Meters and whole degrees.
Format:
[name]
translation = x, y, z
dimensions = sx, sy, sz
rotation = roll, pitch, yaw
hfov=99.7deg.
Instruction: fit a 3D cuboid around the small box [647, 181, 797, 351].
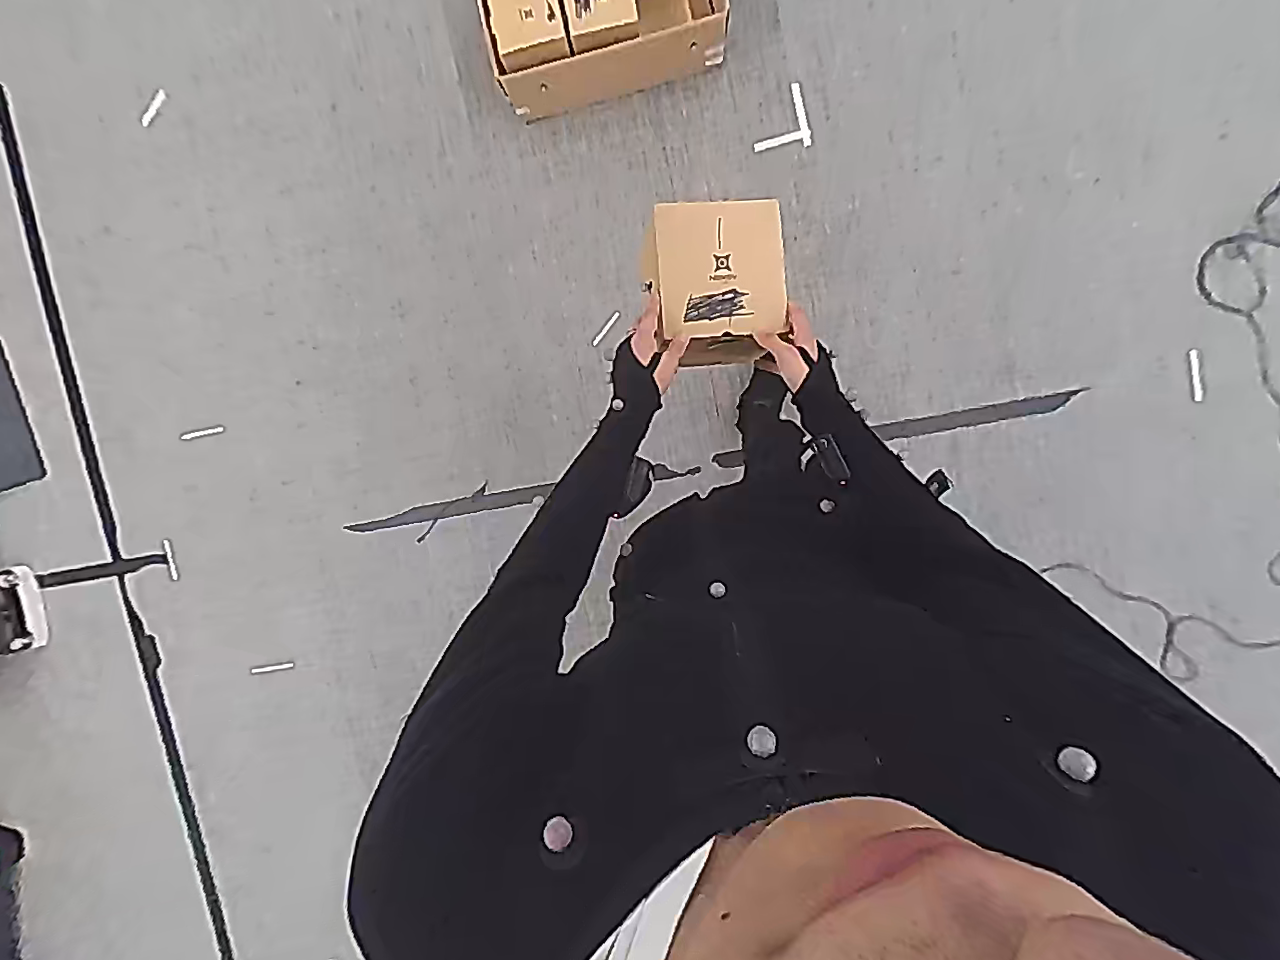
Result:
[small box]
translation = 0.103, -0.278, 0.742
dimensions = 0.168, 0.176, 0.179
rotation = -6, 92, -4
